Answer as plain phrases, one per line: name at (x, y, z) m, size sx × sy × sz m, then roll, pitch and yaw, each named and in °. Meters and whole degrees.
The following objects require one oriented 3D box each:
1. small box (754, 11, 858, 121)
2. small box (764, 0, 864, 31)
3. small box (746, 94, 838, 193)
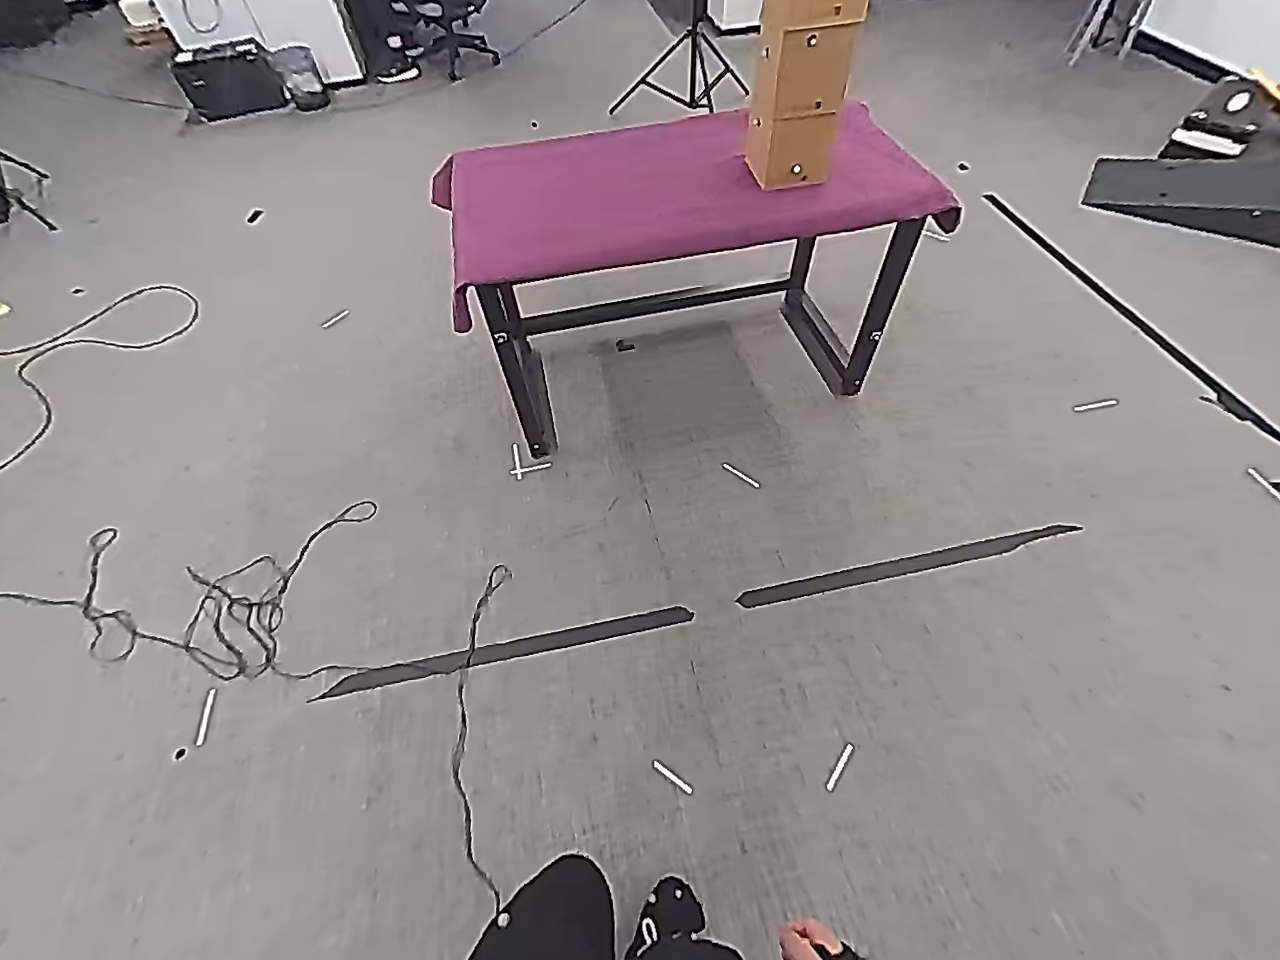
small box at (0.366, -0.949, 1.233) m, size 0.168 × 0.176 × 0.179 m, roll -8°, pitch 54°, yaw -1°
small box at (0.360, -1.038, 1.096) m, size 0.168 × 0.176 × 0.179 m, roll -8°, pitch 54°, yaw -1°
small box at (0.374, -0.859, 1.370) m, size 0.168 × 0.176 × 0.179 m, roll -10°, pitch 55°, yaw -3°
